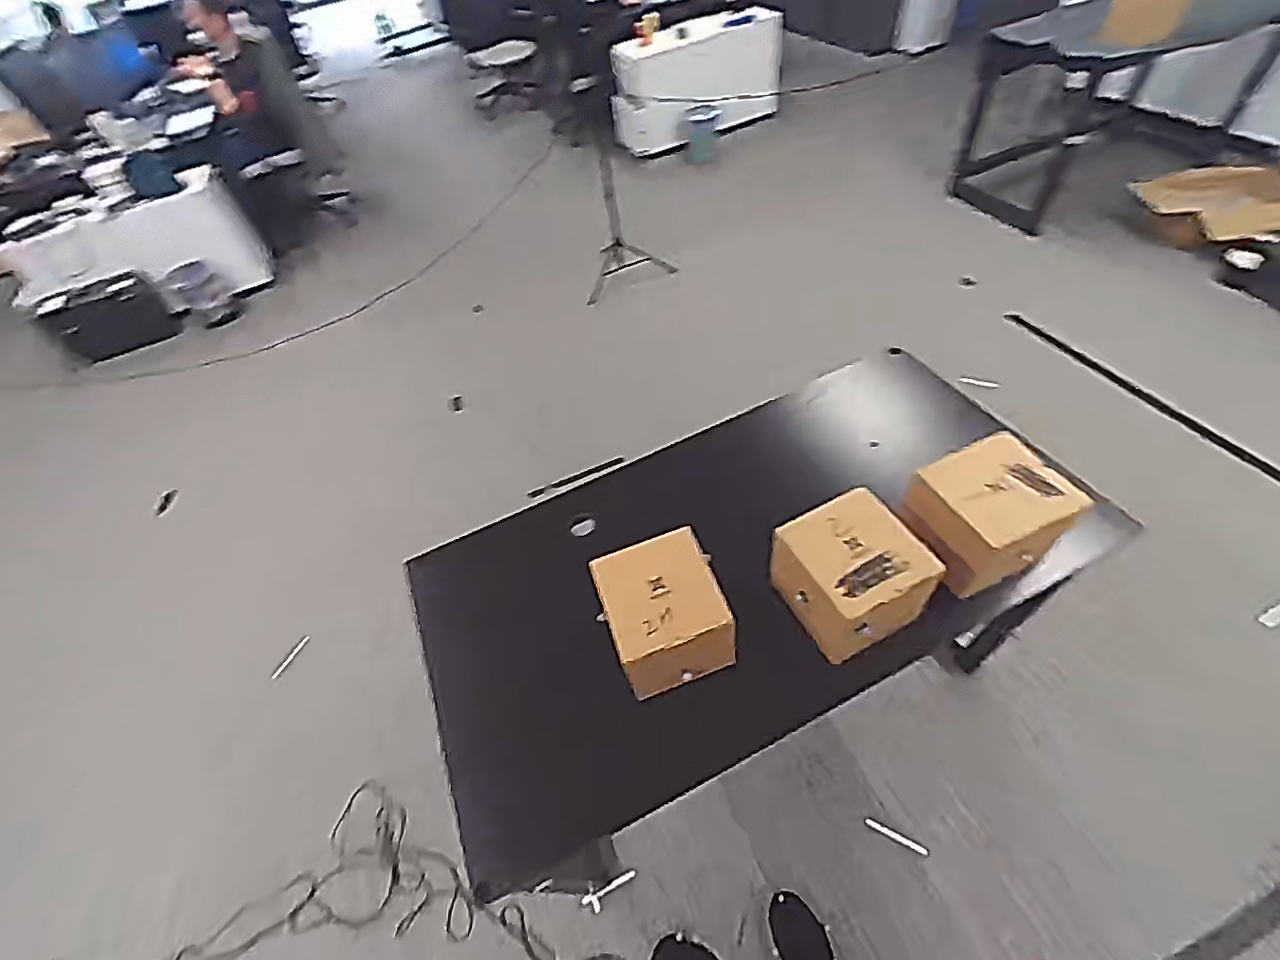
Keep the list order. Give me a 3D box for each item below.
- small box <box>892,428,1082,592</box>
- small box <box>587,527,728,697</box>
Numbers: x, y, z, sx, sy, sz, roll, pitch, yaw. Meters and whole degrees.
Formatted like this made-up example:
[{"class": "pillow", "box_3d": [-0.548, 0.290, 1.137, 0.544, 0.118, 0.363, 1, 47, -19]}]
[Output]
[{"class": "small box", "box_3d": [0.548, 0.051, 0.885, 0.179, 0.176, 0.168, -24, 51, -7]}, {"class": "small box", "box_3d": [0.029, 0.210, 0.851, 0.168, 0.176, 0.179, -20, 52, -6]}]
